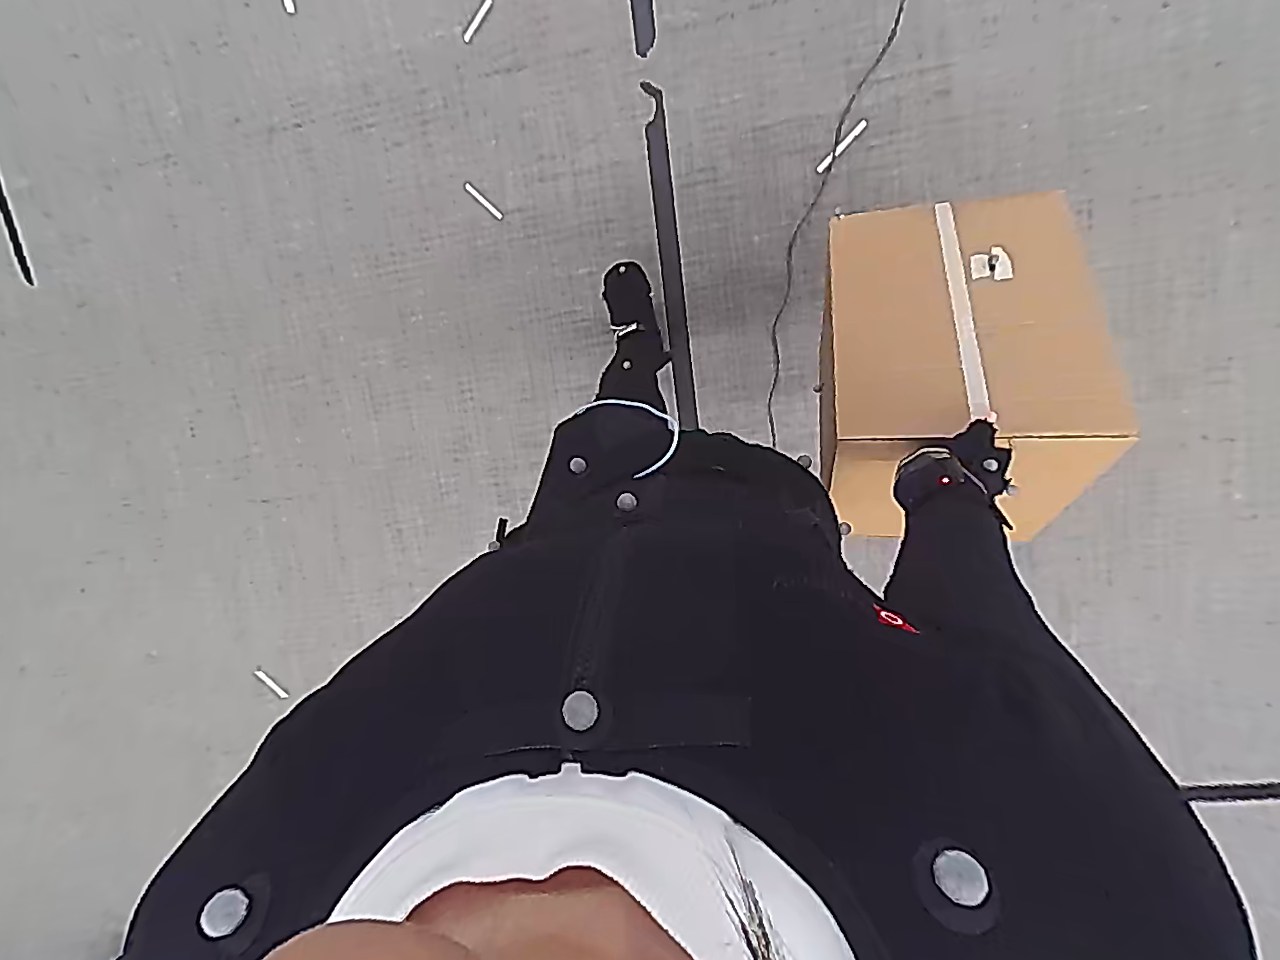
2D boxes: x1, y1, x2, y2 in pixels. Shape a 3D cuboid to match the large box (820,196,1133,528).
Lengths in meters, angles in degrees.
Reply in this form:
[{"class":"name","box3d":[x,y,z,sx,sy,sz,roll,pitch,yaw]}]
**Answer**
[{"class":"large box","box3d":[0.458,-0.163,0.853,0.320,0.320,0.408,1,63,14]}]
